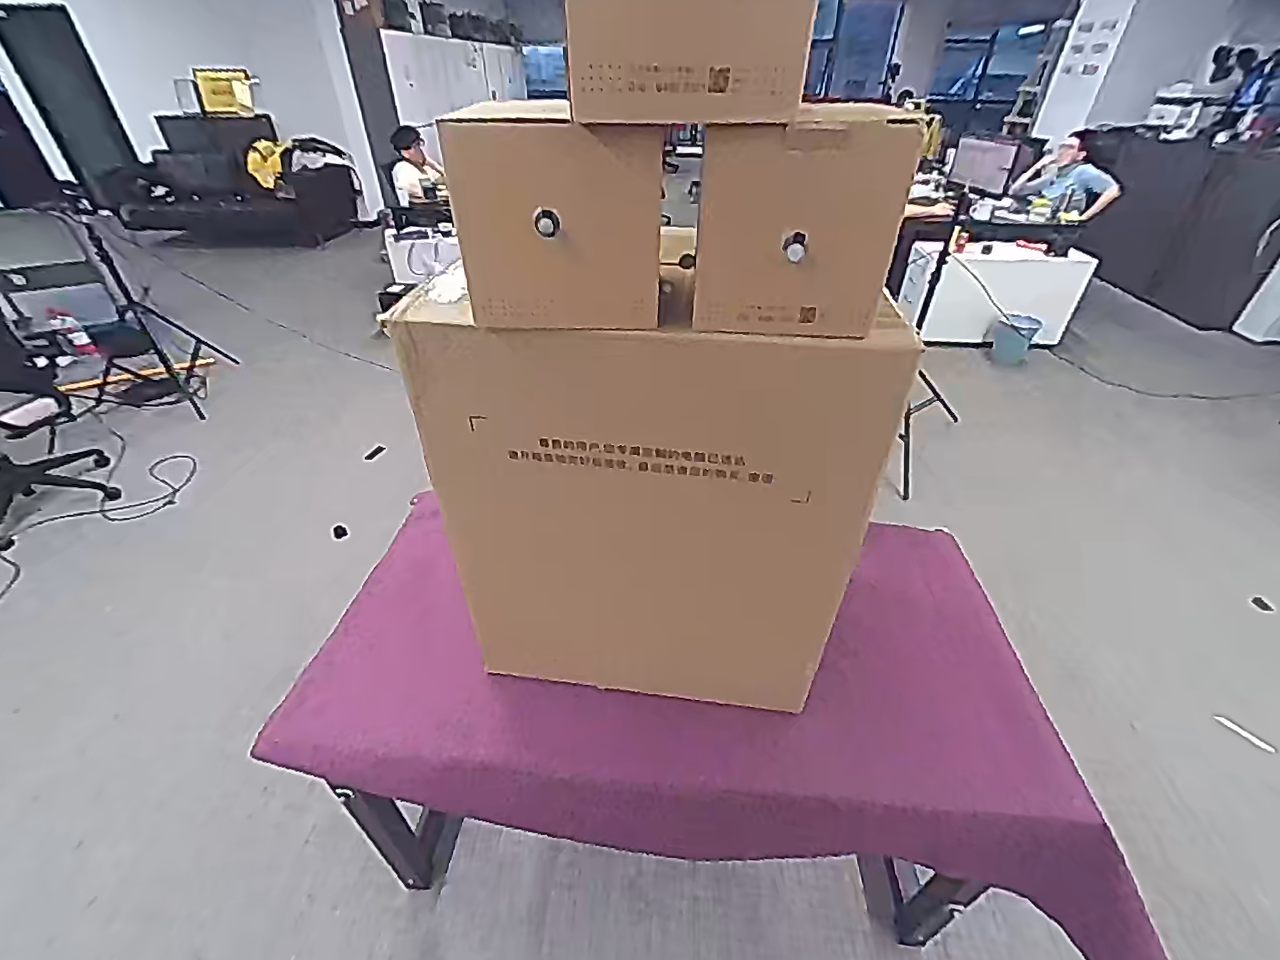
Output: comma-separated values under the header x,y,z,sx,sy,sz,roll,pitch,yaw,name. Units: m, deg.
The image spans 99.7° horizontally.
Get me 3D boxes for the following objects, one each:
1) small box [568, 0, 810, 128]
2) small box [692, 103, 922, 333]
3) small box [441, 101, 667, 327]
x,y,z,sx,sy,sz,roll,pitch,yaw,name
0.030,-0.373,0.411,0.168,0.176,0.179,-1,37,-4,small box
0.140,-0.253,0.521,0.168,0.176,0.179,4,39,4,small box
-0.066,-0.257,0.525,0.179,0.176,0.168,0,38,0,small box
